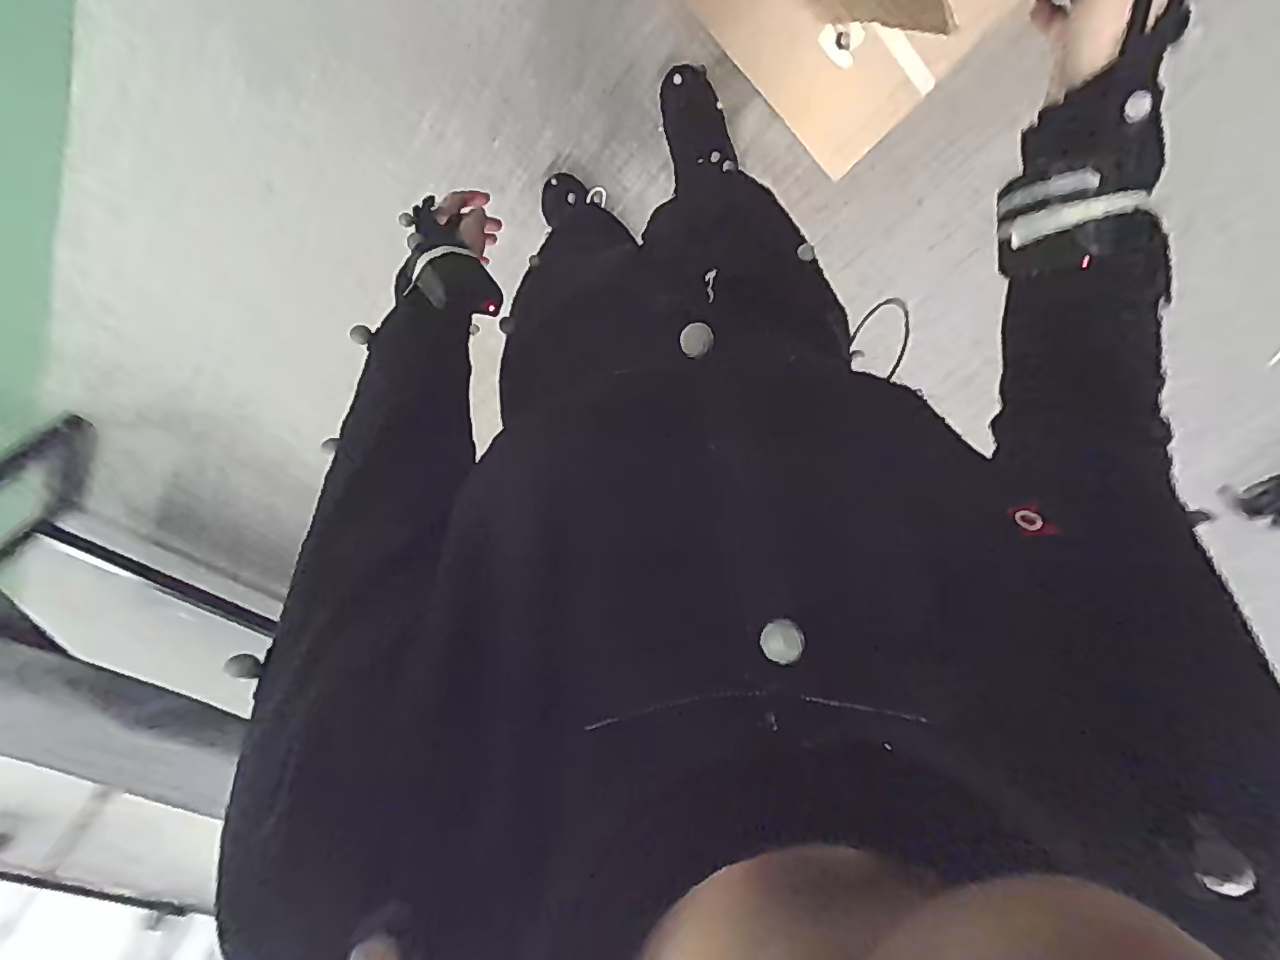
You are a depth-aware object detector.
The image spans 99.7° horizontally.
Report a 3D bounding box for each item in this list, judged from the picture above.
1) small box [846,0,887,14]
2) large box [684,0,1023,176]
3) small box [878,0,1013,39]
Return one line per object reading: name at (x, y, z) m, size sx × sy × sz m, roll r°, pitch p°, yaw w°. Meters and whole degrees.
small box at (0.234, -0.527, 0.441) m, size 0.168 × 0.176 × 0.179 m, roll -29°, pitch 123°, yaw 27°
large box at (0.268, -0.748, 0.786) m, size 0.408 × 0.320 × 0.320 m, roll 34°, pitch 127°, yaw -24°
small box at (0.217, -0.418, 0.323) m, size 0.168 × 0.176 × 0.179 m, roll -29°, pitch 123°, yaw 26°
